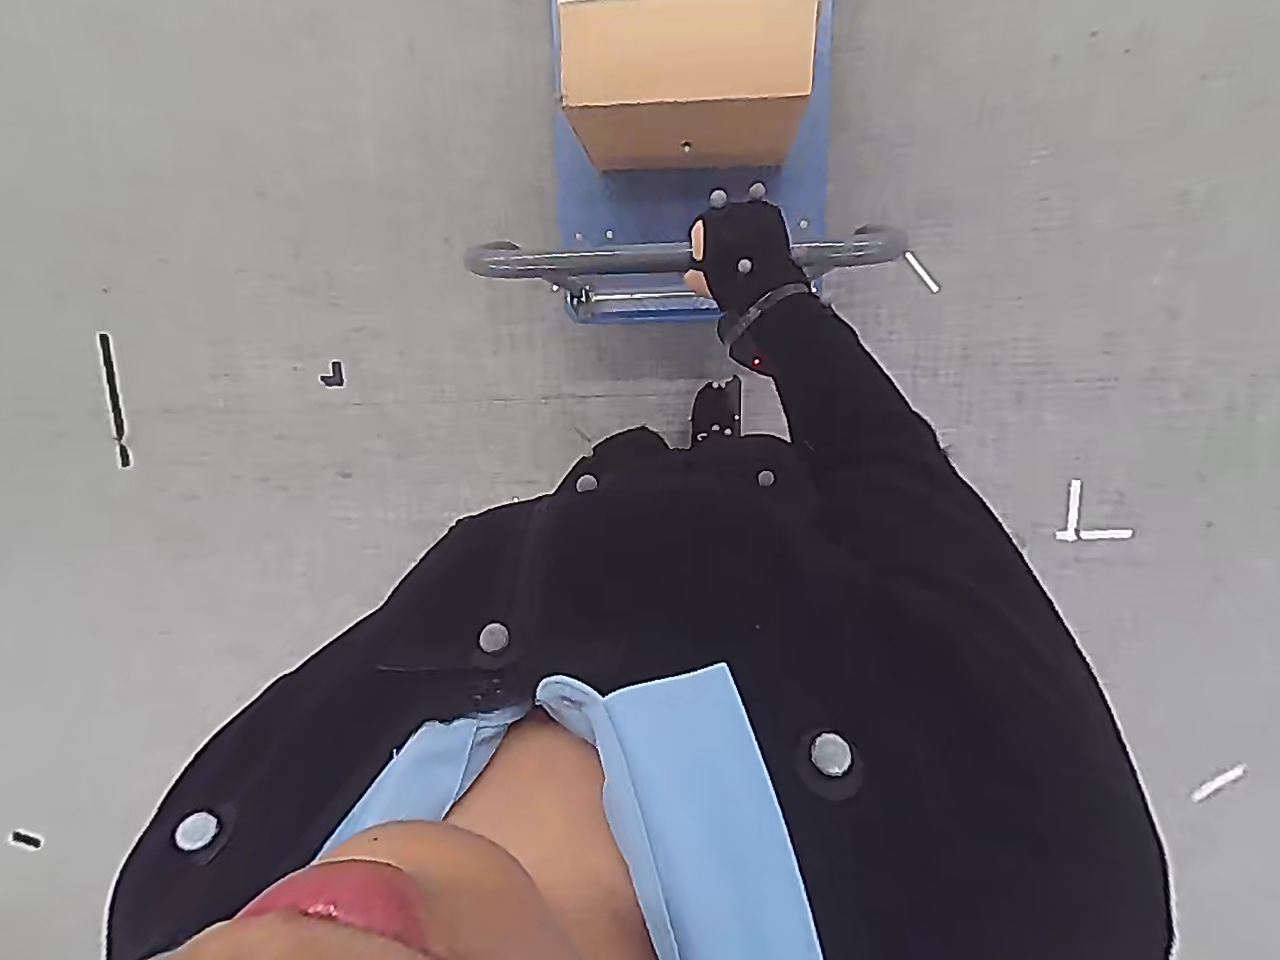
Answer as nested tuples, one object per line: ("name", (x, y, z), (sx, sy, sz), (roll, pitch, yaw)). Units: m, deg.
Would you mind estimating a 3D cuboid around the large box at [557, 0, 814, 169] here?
("large box", (0.086, -0.786, 0.973), (0.408, 0.320, 0.320), (2, 101, 8))
